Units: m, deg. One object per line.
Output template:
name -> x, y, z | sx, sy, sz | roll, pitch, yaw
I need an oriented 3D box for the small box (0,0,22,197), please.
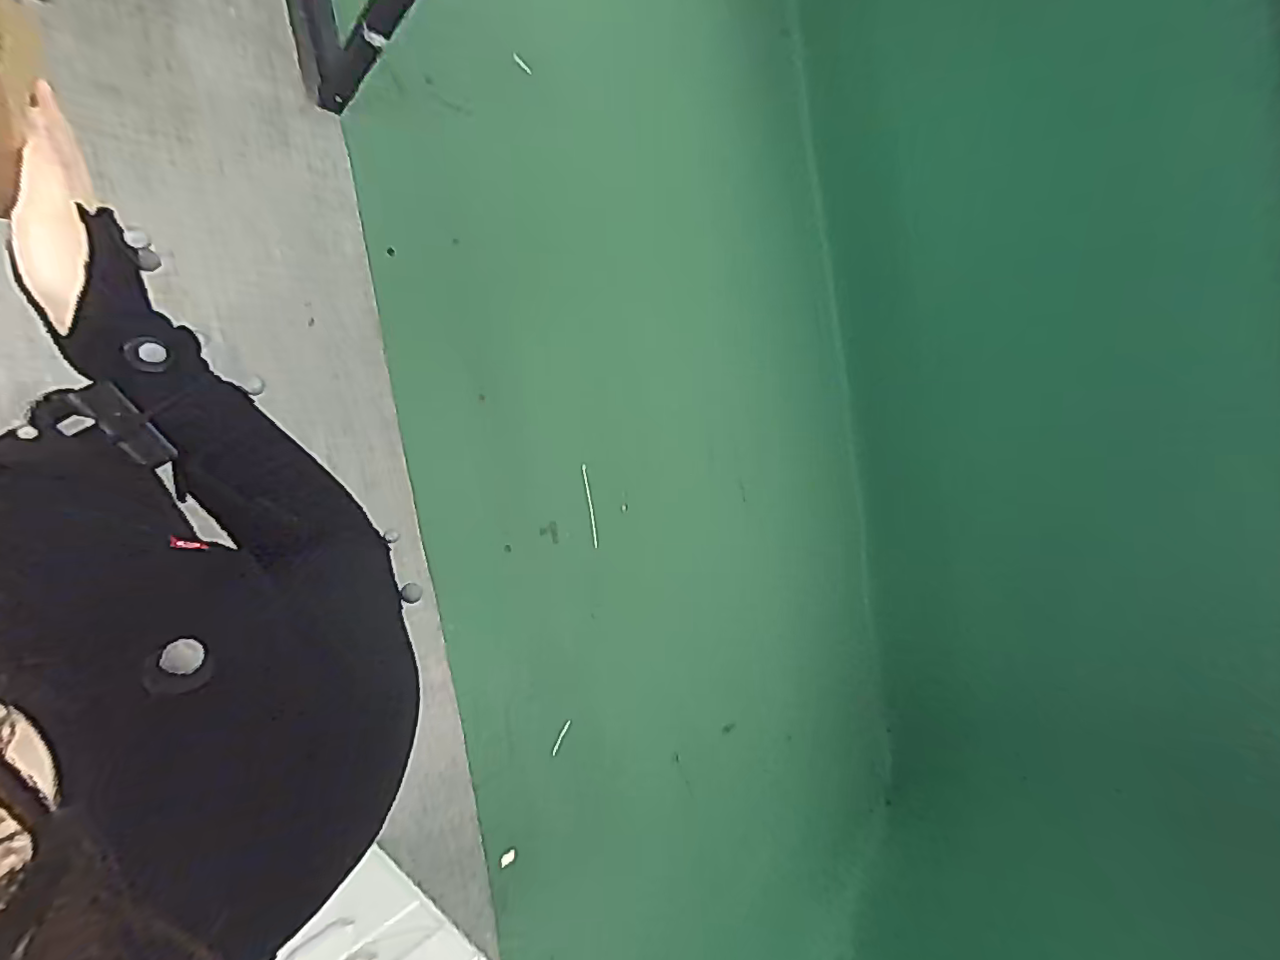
small box -> -0.411, -0.263, 0.240 | 0.168, 0.176, 0.179 | -3, 86, -44
